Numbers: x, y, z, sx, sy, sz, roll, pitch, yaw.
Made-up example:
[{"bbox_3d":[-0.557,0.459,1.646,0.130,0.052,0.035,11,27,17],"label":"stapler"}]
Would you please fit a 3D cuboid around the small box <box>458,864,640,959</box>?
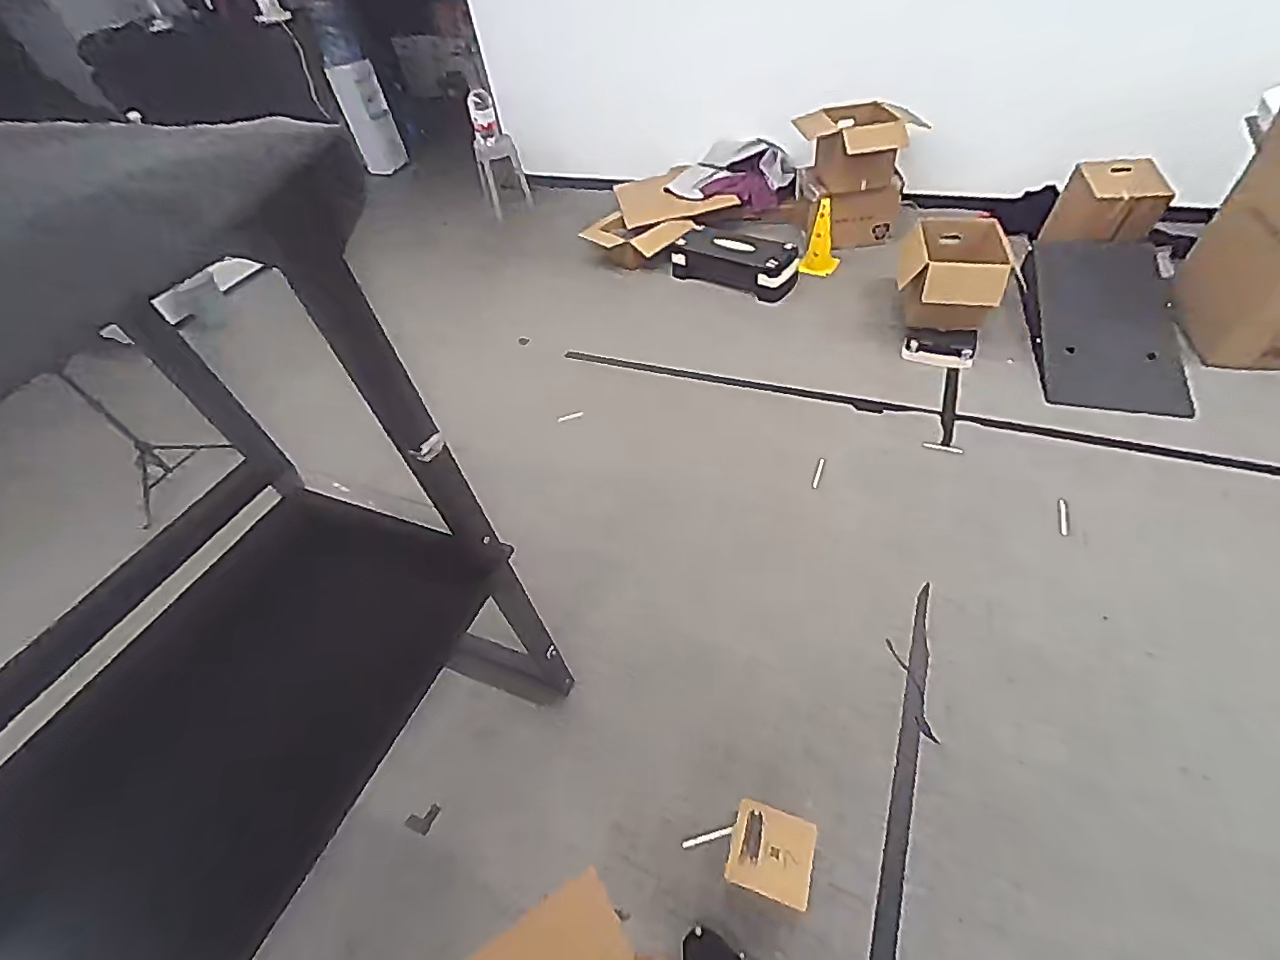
[{"bbox_3d":[-0.069,0.566,0.564,0.168,0.176,0.179,-23,36,-21],"label":"small box"}]
